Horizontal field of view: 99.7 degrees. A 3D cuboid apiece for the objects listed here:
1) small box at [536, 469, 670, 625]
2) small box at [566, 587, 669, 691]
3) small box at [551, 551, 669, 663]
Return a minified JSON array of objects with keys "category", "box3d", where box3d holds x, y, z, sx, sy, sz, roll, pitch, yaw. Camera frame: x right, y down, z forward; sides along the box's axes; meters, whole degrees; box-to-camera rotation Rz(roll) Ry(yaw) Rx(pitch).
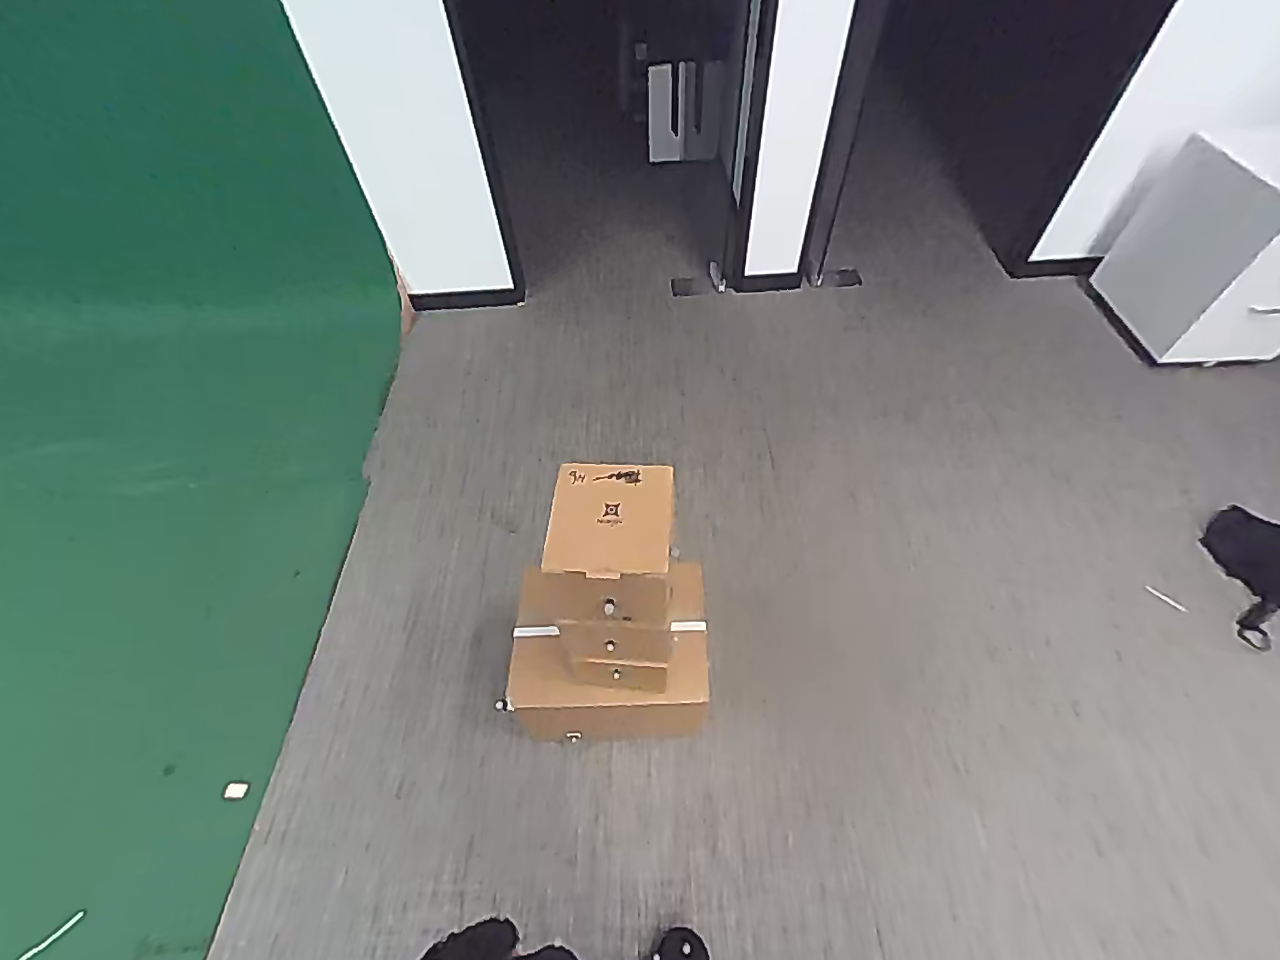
[{"category":"small box","box3d":[-0.042,0.103,0.797,0.168,0.176,0.179,2,55,4]},{"category":"small box","box3d":[-0.037,0.304,1.056,0.179,0.176,0.168,3,55,3]},{"category":"small box","box3d":[-0.041,0.205,0.925,0.179,0.176,0.168,1,55,5]}]
